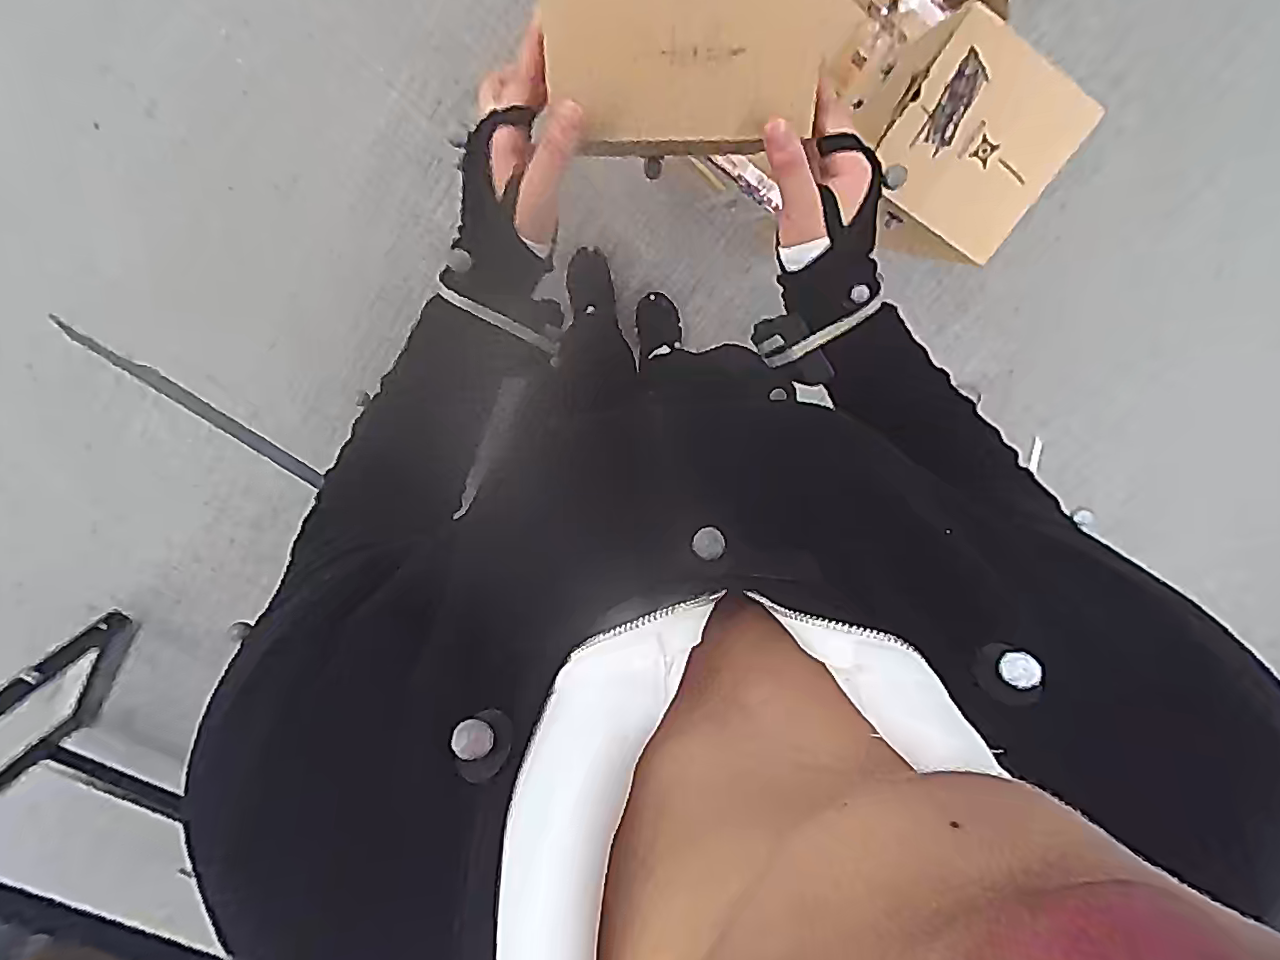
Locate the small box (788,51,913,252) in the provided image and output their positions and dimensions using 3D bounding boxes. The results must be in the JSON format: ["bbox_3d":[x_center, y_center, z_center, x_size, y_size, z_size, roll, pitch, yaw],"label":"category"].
[{"bbox_3d":[0.341,-0.451,0.766,0.179,0.176,0.168,27,113,-13],"label":"small box"}]

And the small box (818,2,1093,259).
[{"bbox_3d":[0.336,-0.376,0.619,0.179,0.176,0.168,28,113,-13],"label":"small box"}]

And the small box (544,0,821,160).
[{"bbox_3d":[0.022,-0.330,0.378,0.168,0.176,0.179,-2,119,-1],"label":"small box"}]
